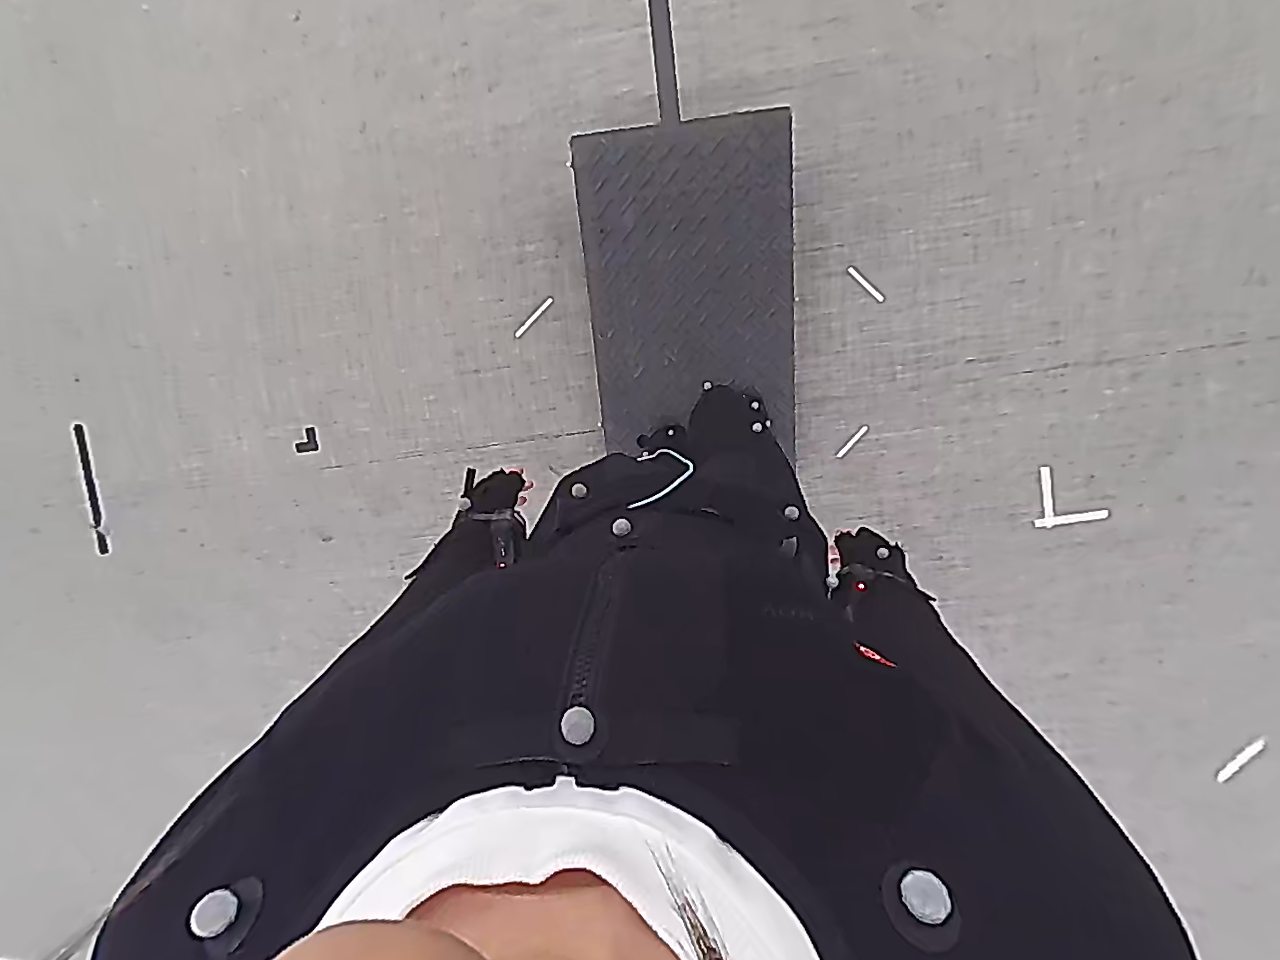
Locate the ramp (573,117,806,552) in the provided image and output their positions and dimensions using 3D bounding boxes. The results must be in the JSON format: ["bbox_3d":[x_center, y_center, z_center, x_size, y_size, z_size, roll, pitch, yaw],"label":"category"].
[{"bbox_3d":[0.149,-0.298,1.348,0.509,0.206,0.991,-7,96,6],"label":"ramp"}]
